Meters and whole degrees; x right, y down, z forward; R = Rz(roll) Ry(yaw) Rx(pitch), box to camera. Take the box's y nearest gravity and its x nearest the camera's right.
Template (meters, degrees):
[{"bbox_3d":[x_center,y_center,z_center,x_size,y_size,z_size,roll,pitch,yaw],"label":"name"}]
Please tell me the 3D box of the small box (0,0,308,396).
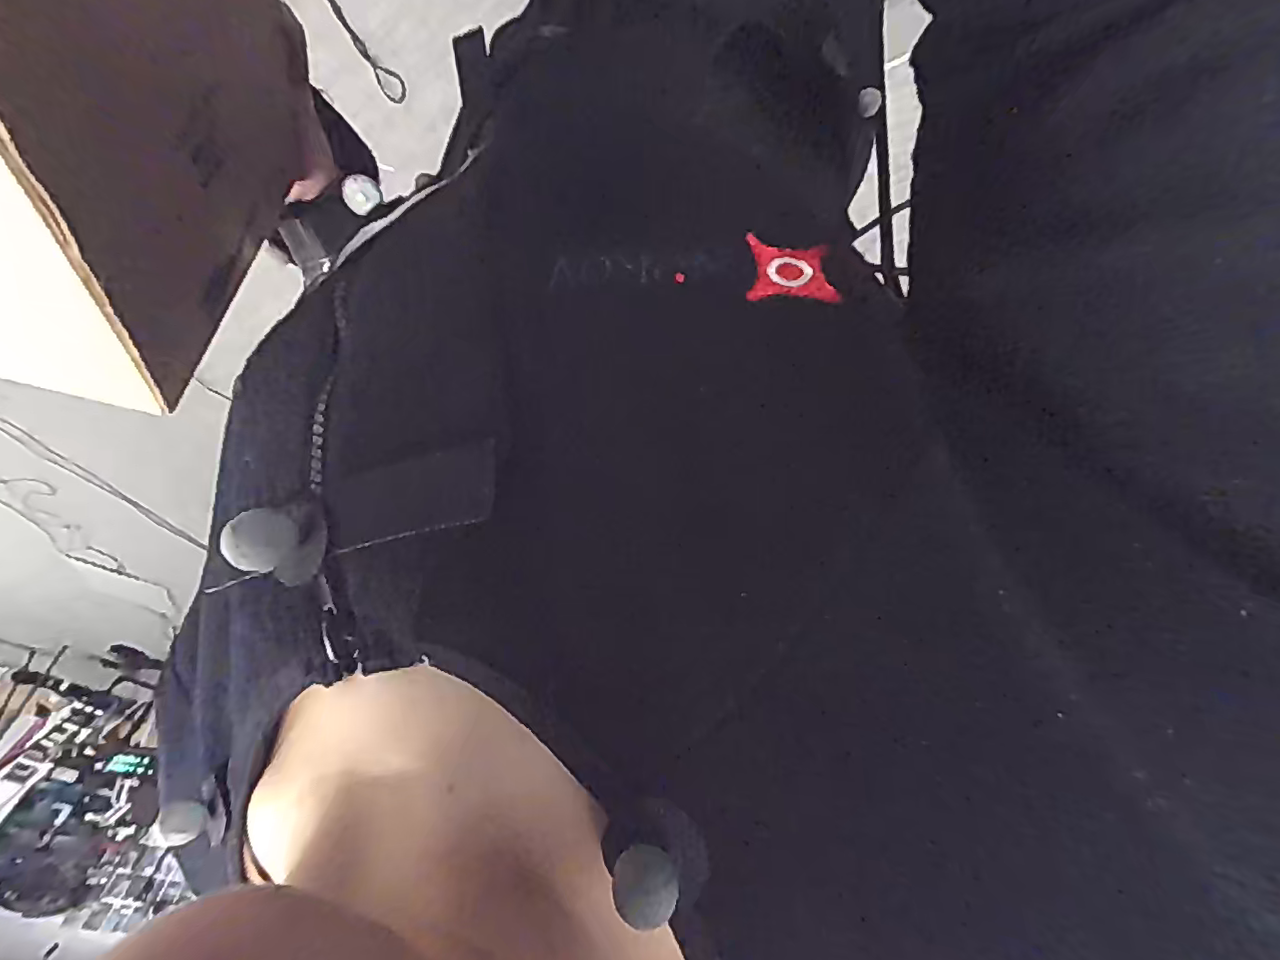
[{"bbox_3d":[-0.242,-0.160,0.188,0.176,0.168,0.179,15,152,-21],"label":"small box"}]
